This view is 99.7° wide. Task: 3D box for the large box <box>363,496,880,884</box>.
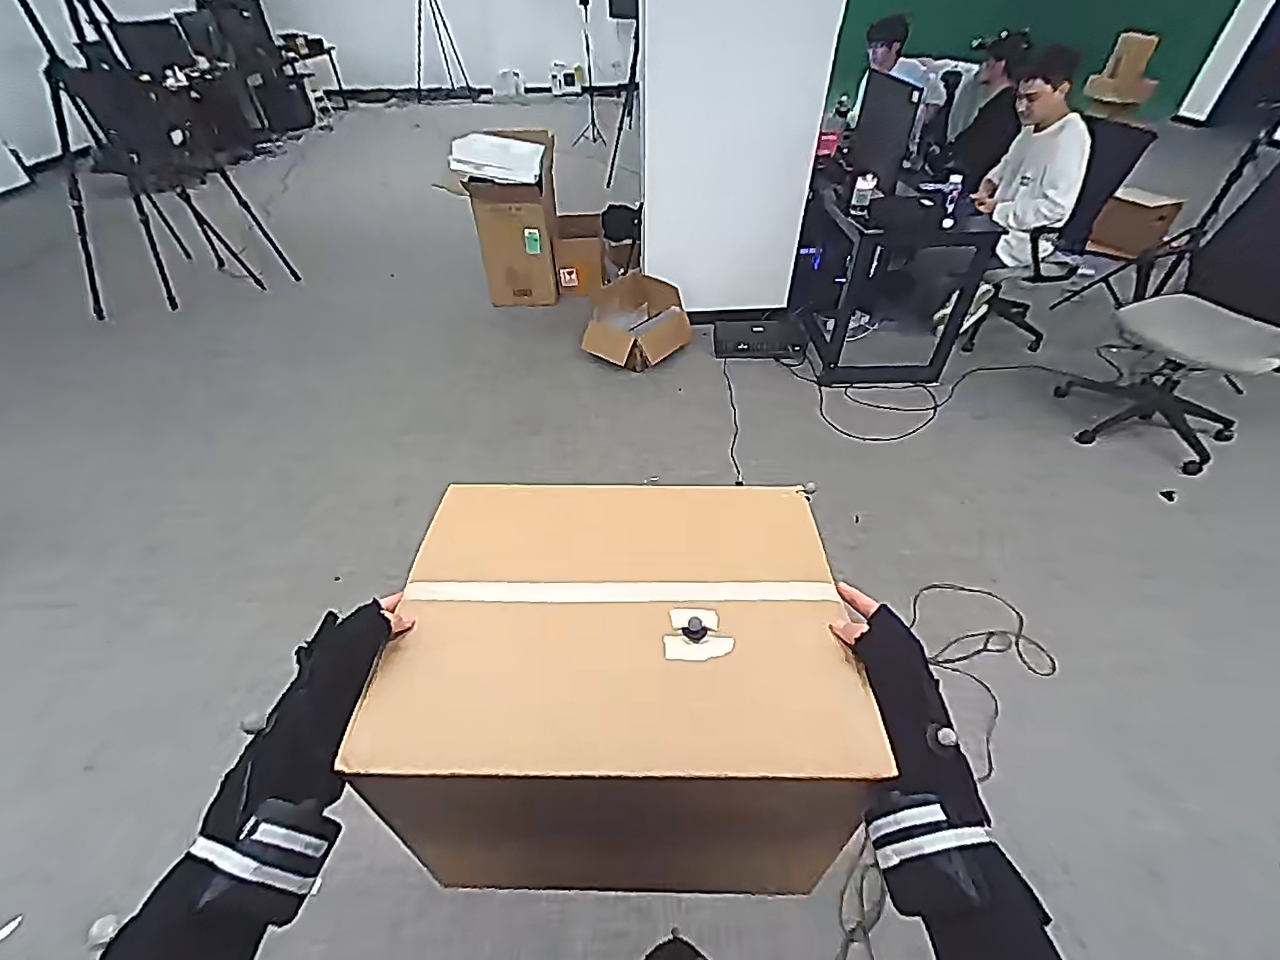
[{"bbox_3d":[-0.015,0.231,0.616,0.408,0.320,0.320,1,40,1],"label":"large box"}]
